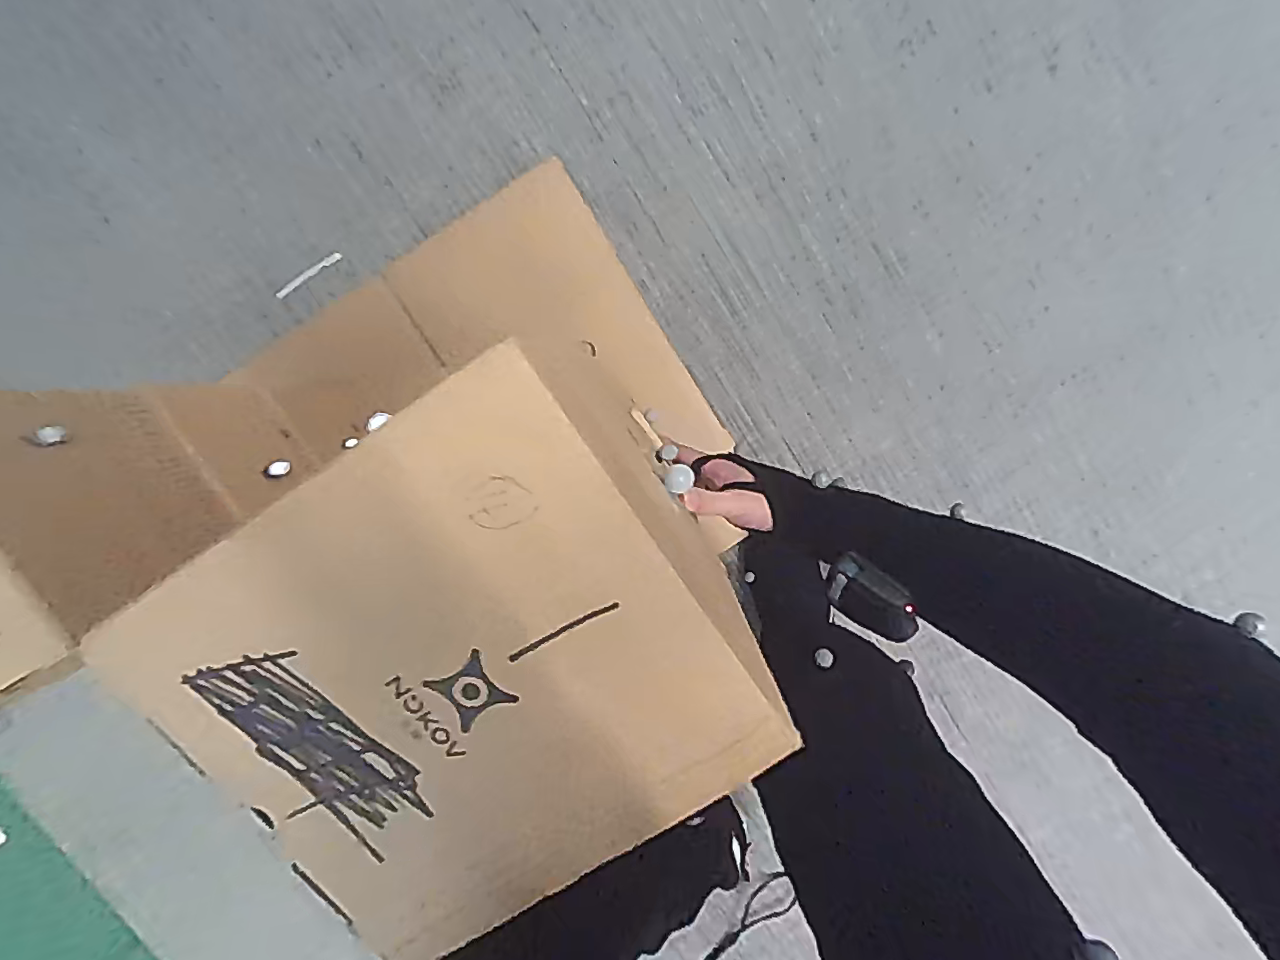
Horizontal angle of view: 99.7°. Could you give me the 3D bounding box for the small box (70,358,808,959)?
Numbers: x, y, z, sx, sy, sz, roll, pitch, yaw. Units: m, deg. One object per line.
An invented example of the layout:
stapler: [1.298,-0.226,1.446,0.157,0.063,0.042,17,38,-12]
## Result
small box: [-0.060,0.063,0.247,0.179,0.176,0.168,-34,101,6]
